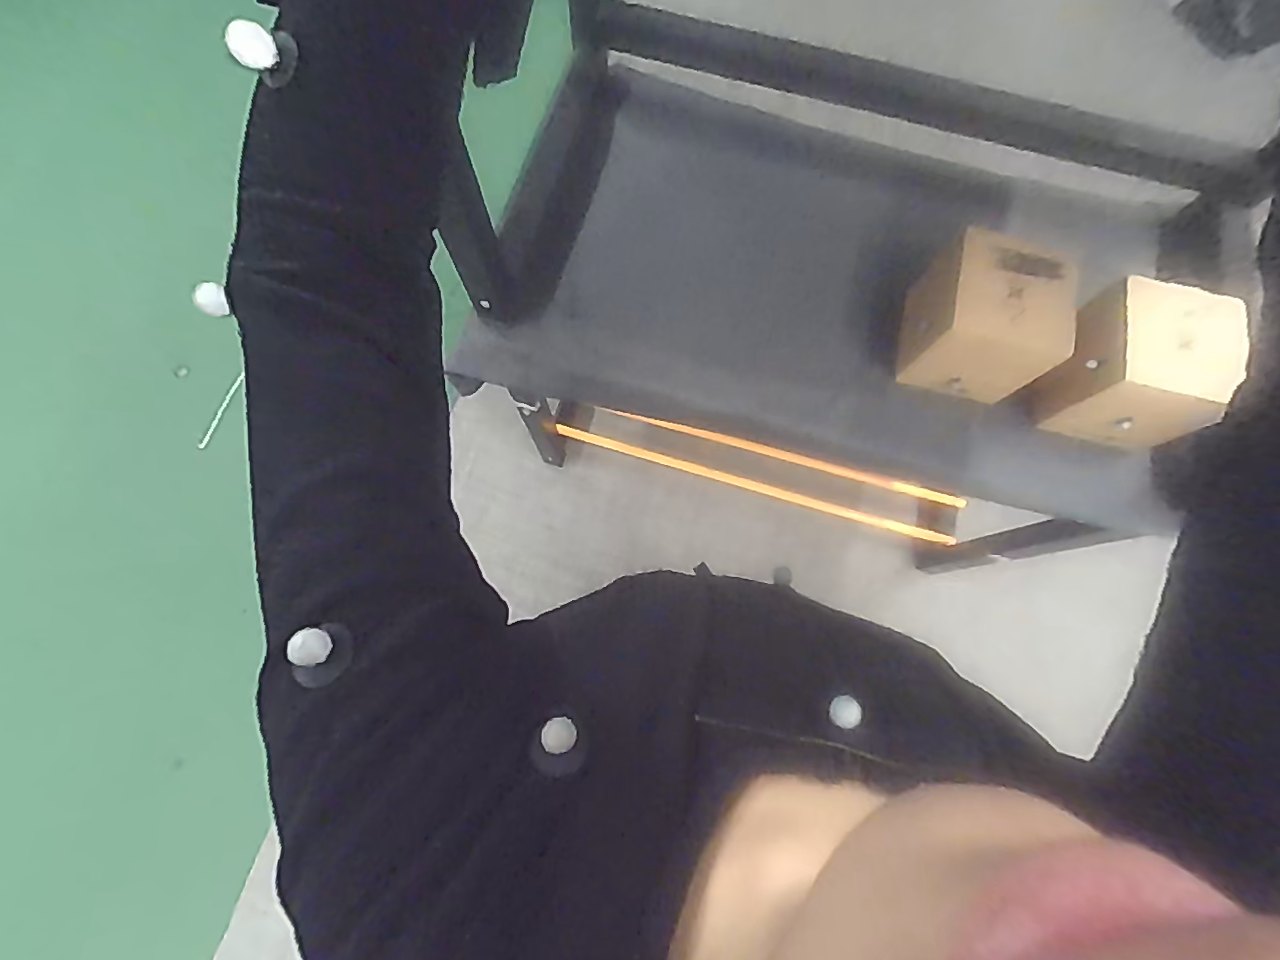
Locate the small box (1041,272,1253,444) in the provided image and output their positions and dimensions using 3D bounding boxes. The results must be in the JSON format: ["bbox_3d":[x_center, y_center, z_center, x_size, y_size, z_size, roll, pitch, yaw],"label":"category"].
[{"bbox_3d":[0.742,-0.172,0.811,0.168,0.176,0.179,14,73,3],"label":"small box"}]
